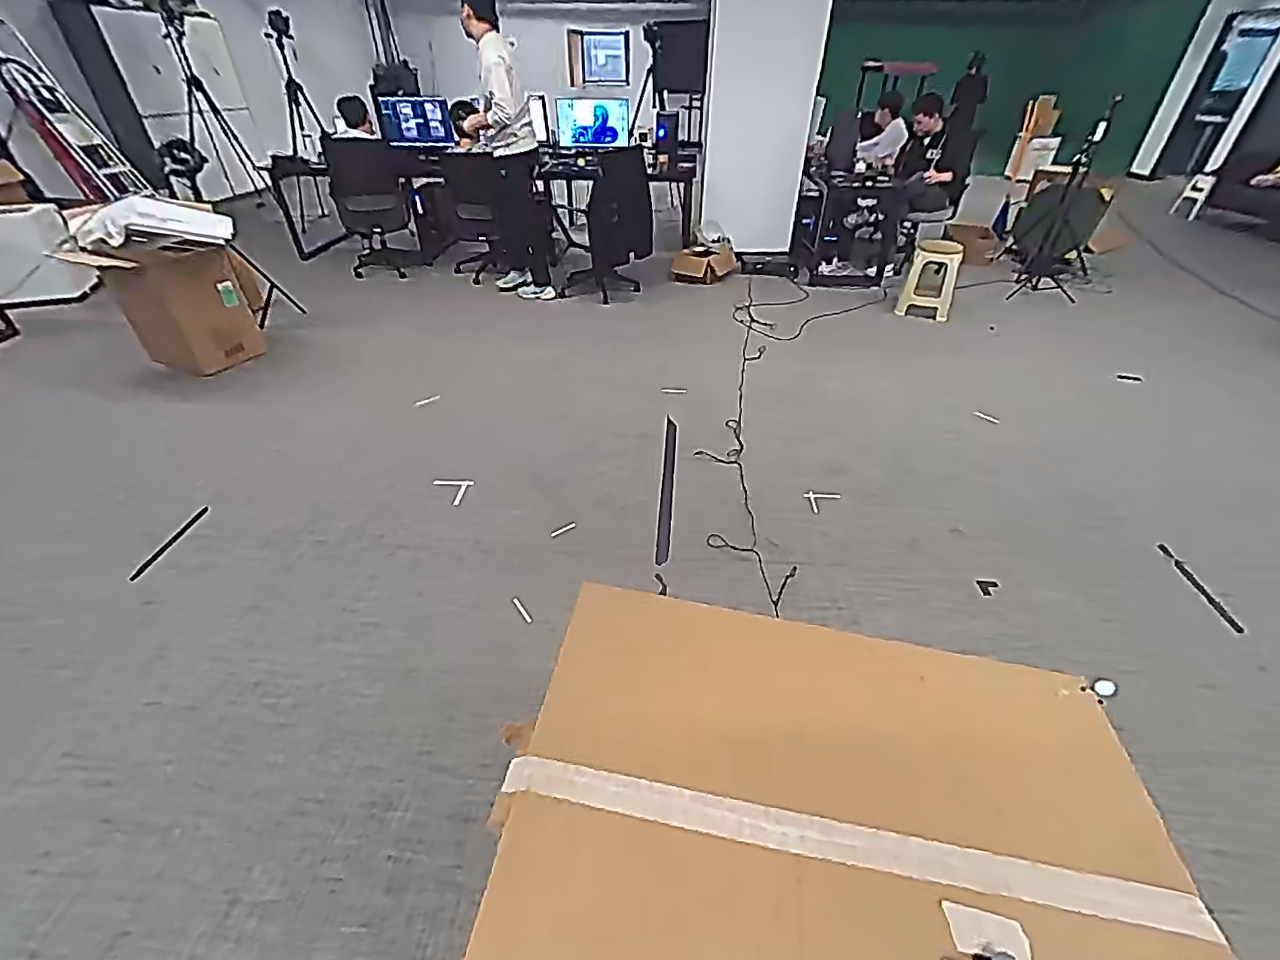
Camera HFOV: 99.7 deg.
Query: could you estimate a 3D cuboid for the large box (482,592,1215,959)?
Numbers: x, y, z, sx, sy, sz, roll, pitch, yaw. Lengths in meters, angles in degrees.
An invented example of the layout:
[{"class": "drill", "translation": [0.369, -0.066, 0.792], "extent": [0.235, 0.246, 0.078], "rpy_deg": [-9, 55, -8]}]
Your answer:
[{"class": "large box", "translation": [0.110, 0.335, 0.423], "extent": [0.408, 0.320, 0.320], "rpy_deg": [11, 40, 3]}]
